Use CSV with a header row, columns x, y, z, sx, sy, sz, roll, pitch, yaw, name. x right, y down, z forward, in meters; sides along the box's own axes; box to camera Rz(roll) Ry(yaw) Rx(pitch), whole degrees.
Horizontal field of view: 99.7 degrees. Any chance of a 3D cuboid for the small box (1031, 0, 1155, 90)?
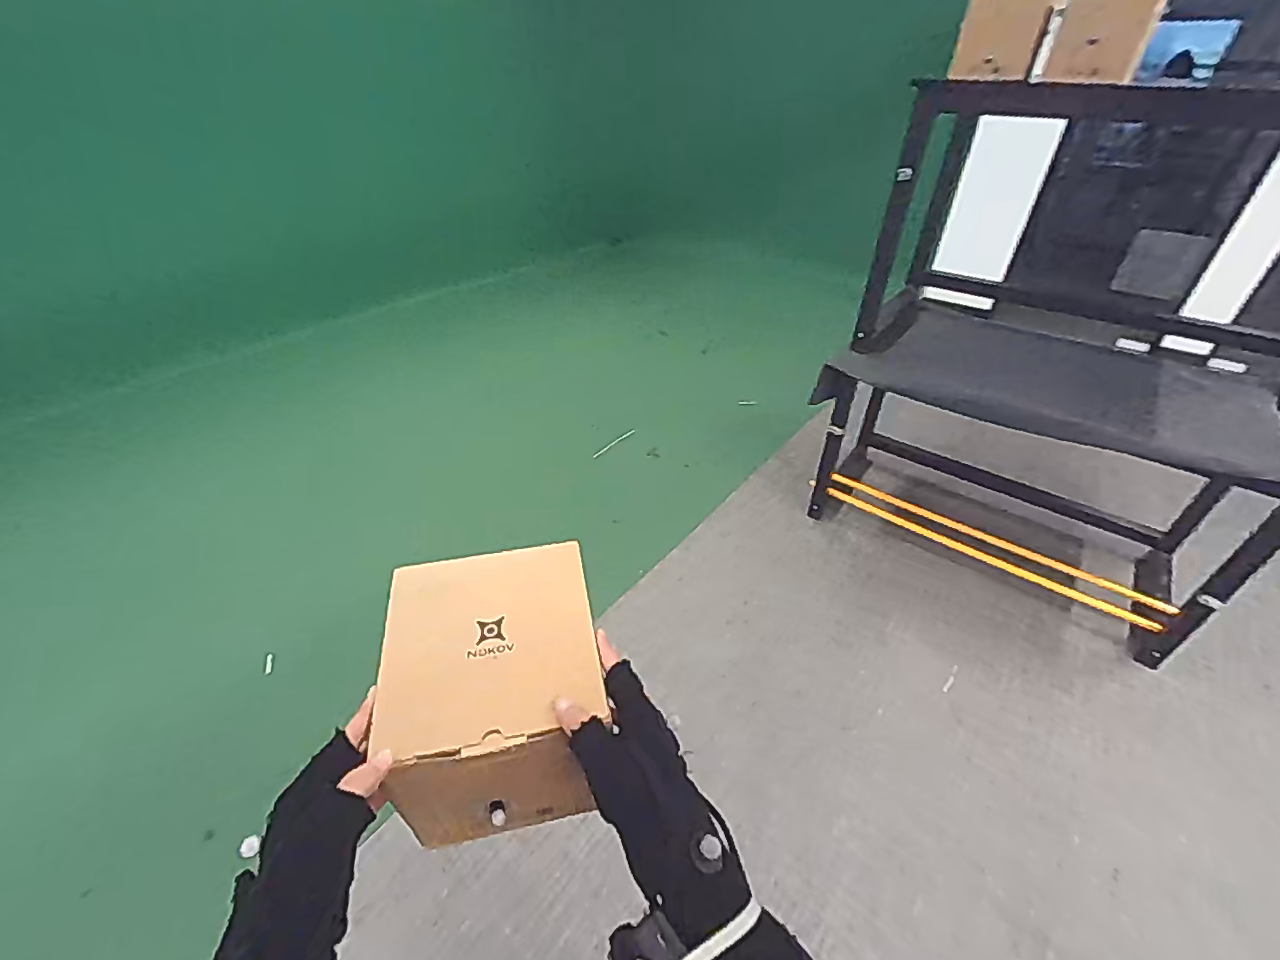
x,y,z,sx,sy,sz,roll,pitch,yaw,name
1.030,-0.997,1.234,0.168,0.176,0.179,27,45,29,small box
